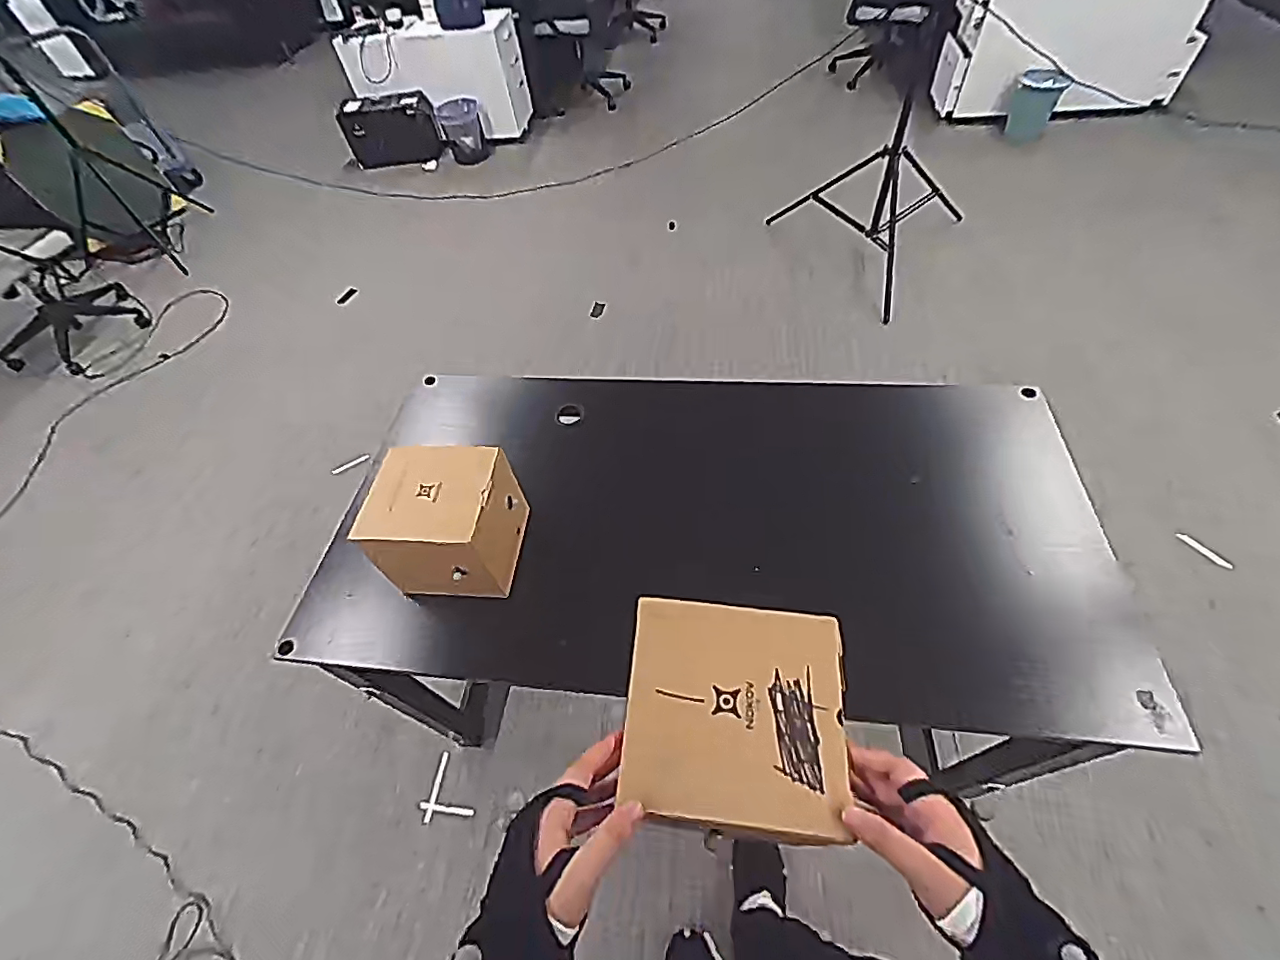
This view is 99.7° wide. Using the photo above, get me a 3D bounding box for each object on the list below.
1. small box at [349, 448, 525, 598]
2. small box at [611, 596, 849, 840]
[{"bbox_3d":[-0.288,0.068,0.818,0.179,0.176,0.168,0,53,7],"label":"small box"},{"bbox_3d":[0.074,0.226,0.502,0.179,0.176,0.168,6,55,4],"label":"small box"}]
